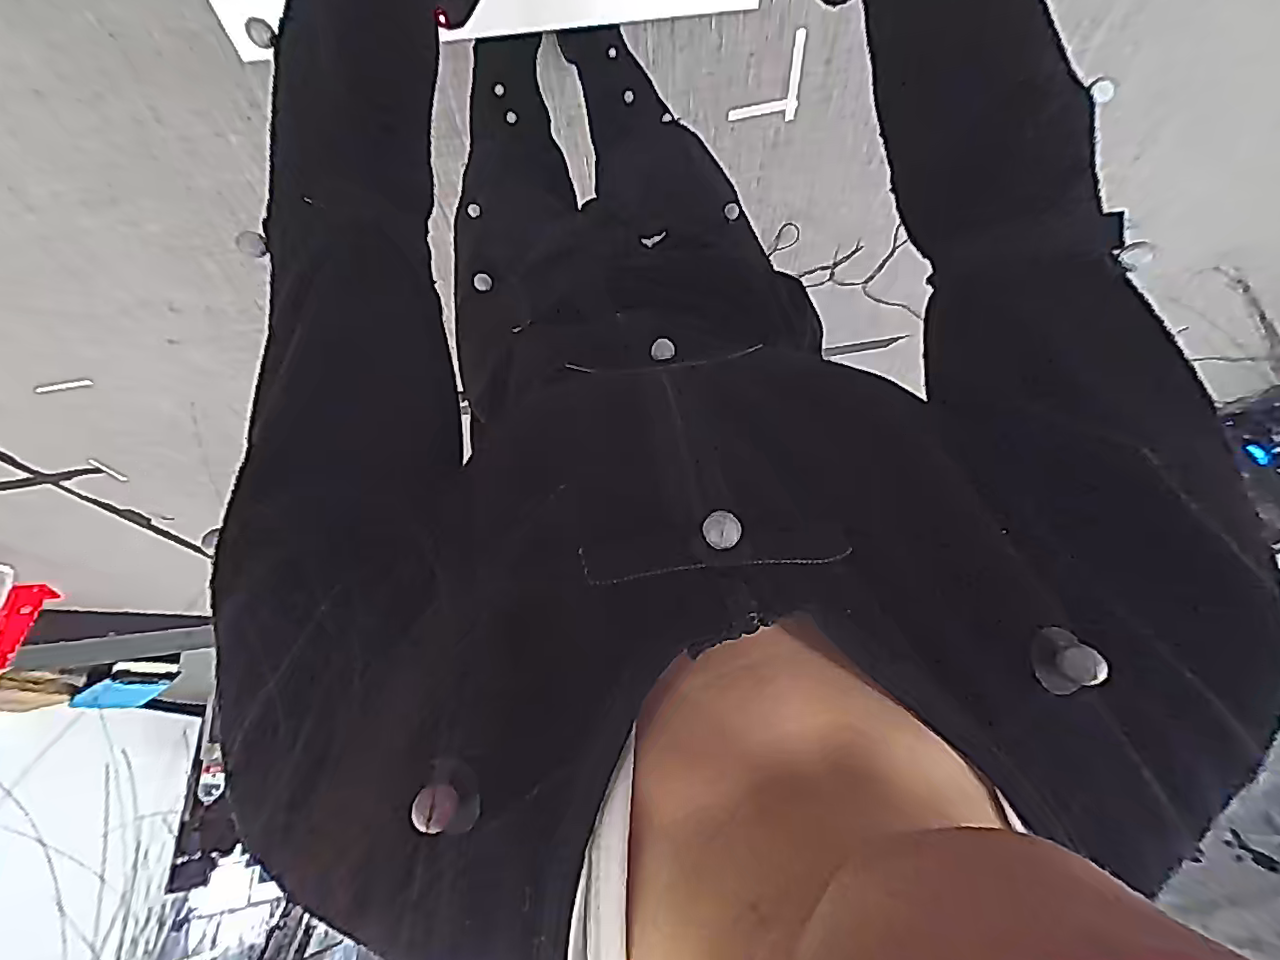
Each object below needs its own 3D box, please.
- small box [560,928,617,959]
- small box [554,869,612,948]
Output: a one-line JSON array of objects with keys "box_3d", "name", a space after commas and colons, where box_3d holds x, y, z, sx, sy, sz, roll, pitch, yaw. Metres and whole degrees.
[{"box_3d": [-0.161, 1.582, 1.753, 0.168, 0.176, 0.179, -10, 151, -4], "name": "small box"}, {"box_3d": [-0.190, 1.440, 1.830, 0.168, 0.176, 0.179, -11, 152, -4], "name": "small box"}]
